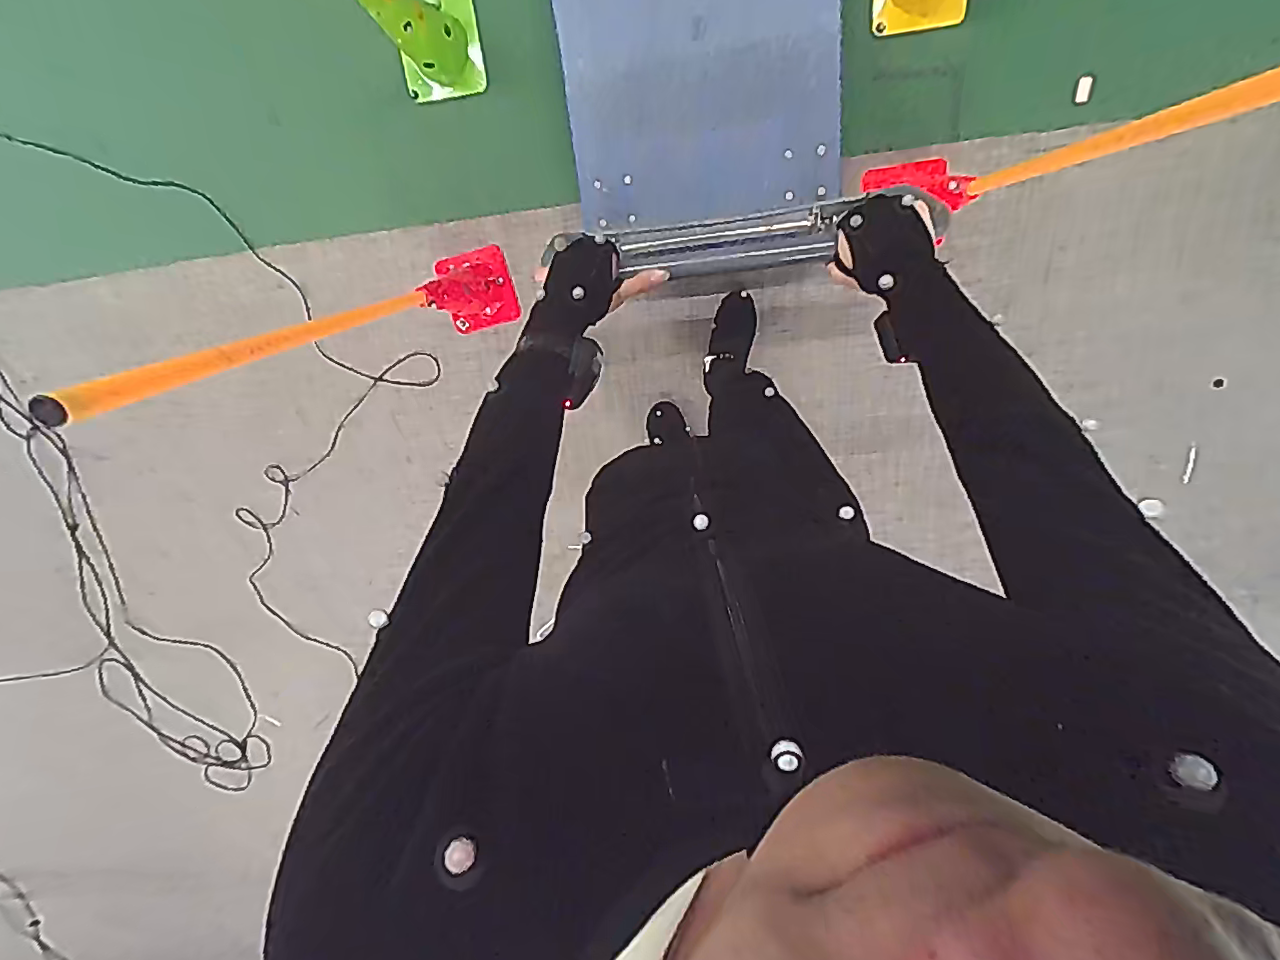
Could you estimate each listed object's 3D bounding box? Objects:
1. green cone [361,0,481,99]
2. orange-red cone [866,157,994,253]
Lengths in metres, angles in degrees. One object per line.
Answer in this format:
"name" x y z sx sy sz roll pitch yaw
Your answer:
"green cone" -0.496 -0.964 1.108 0.200 0.368 0.202 -5 110 8
"orange-red cone" 0.638 -0.606 1.151 0.198 0.360 0.199 -5 109 6
